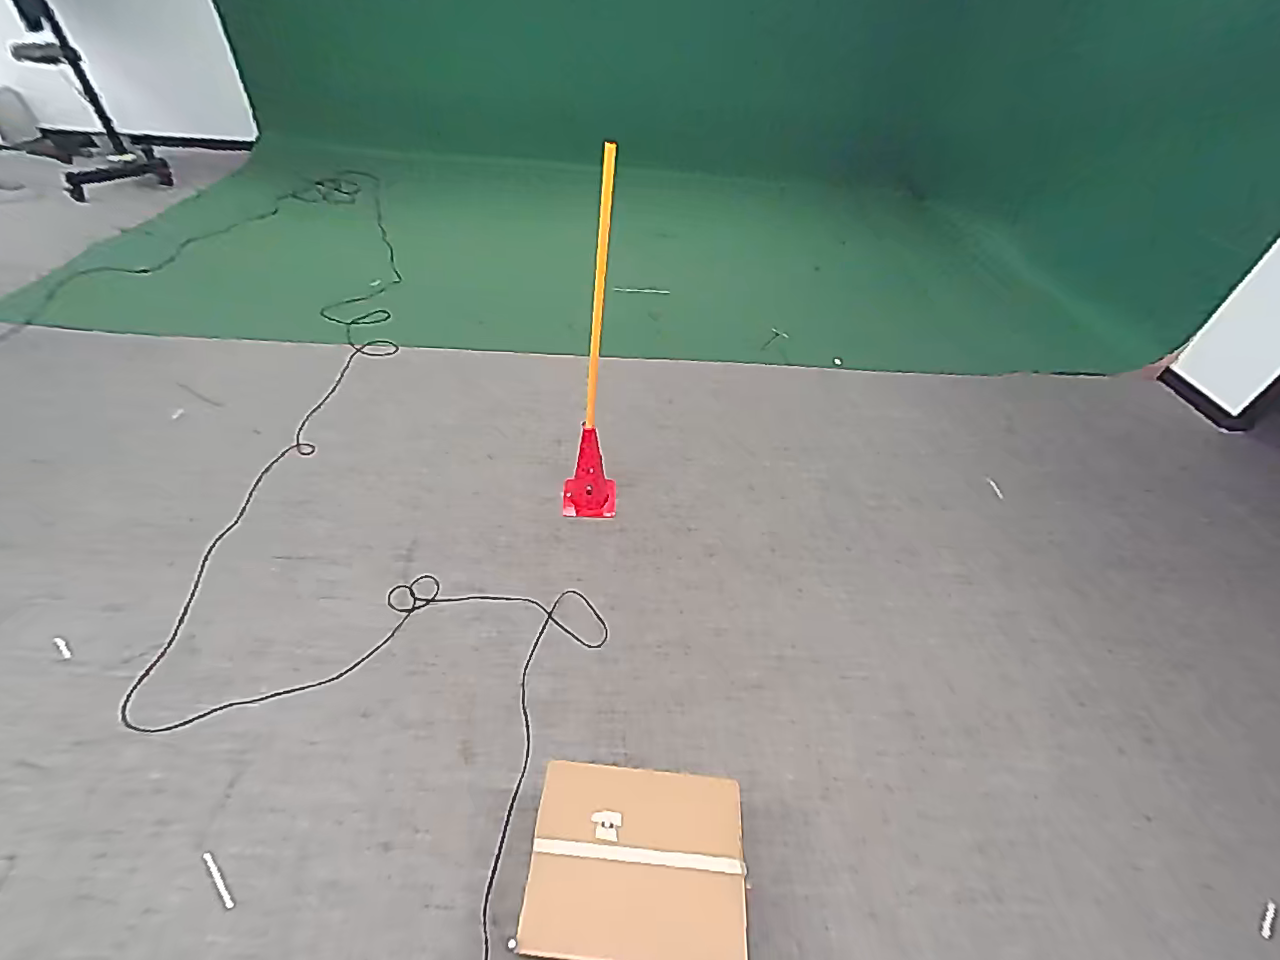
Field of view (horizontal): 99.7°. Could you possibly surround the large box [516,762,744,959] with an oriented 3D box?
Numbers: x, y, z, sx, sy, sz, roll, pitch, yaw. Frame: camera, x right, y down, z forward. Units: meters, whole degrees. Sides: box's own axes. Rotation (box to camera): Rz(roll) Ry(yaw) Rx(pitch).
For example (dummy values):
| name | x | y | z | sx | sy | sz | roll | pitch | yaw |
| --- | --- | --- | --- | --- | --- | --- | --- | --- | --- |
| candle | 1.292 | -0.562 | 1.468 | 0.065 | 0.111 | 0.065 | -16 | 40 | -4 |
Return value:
| name | x | y | z | sx | sy | sz | roll | pitch | yaw |
| --- | --- | --- | --- | --- | --- | --- | --- | --- | --- |
| large box | -0.014 | 0.826 | 1.138 | 0.408 | 0.320 | 0.320 | 6 | 44 | 1 |
